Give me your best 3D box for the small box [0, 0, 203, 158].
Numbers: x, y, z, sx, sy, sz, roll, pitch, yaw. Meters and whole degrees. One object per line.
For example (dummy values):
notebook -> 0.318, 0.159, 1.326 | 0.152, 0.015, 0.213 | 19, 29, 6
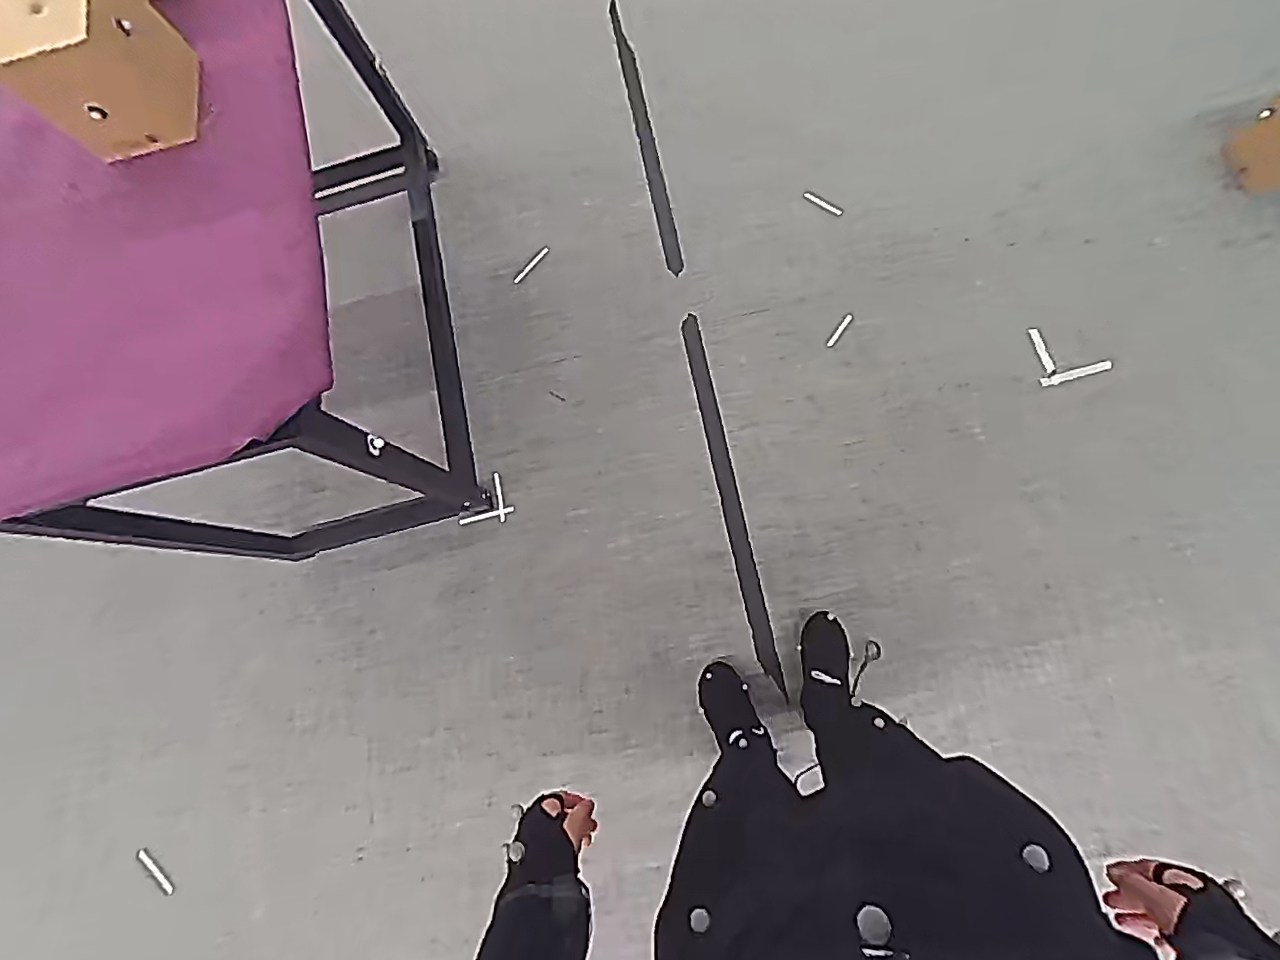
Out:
small box -> -0.820, -0.632, 0.832 | 0.168, 0.176, 0.179 | -11, 76, 4
